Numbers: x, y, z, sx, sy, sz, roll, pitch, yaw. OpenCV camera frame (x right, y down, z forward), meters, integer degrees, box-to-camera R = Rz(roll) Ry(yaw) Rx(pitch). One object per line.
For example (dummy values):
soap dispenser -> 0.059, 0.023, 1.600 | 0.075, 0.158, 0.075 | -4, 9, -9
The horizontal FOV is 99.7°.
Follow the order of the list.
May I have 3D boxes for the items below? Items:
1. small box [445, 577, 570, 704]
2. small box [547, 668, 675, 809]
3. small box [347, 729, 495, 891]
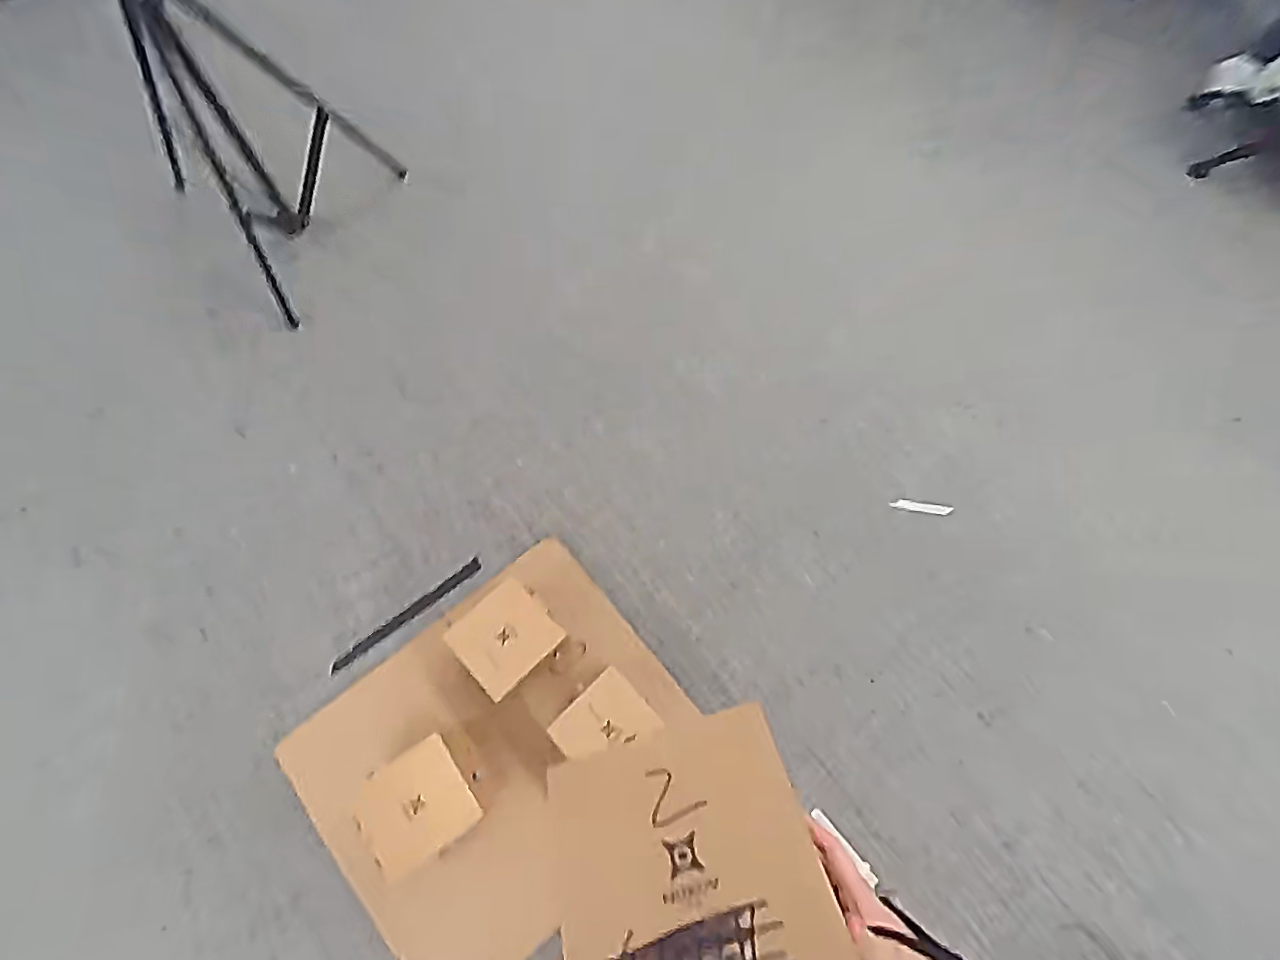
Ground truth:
small box -> -0.257, 0.325, 1.092 | 0.168, 0.176, 0.179 | 43, 73, 12
small box -> -0.057, 0.486, 1.046 | 0.168, 0.176, 0.179 | -42, 78, -17
small box -> -0.382, 0.580, 0.983 | 0.179, 0.176, 0.168 | -34, 76, -15
